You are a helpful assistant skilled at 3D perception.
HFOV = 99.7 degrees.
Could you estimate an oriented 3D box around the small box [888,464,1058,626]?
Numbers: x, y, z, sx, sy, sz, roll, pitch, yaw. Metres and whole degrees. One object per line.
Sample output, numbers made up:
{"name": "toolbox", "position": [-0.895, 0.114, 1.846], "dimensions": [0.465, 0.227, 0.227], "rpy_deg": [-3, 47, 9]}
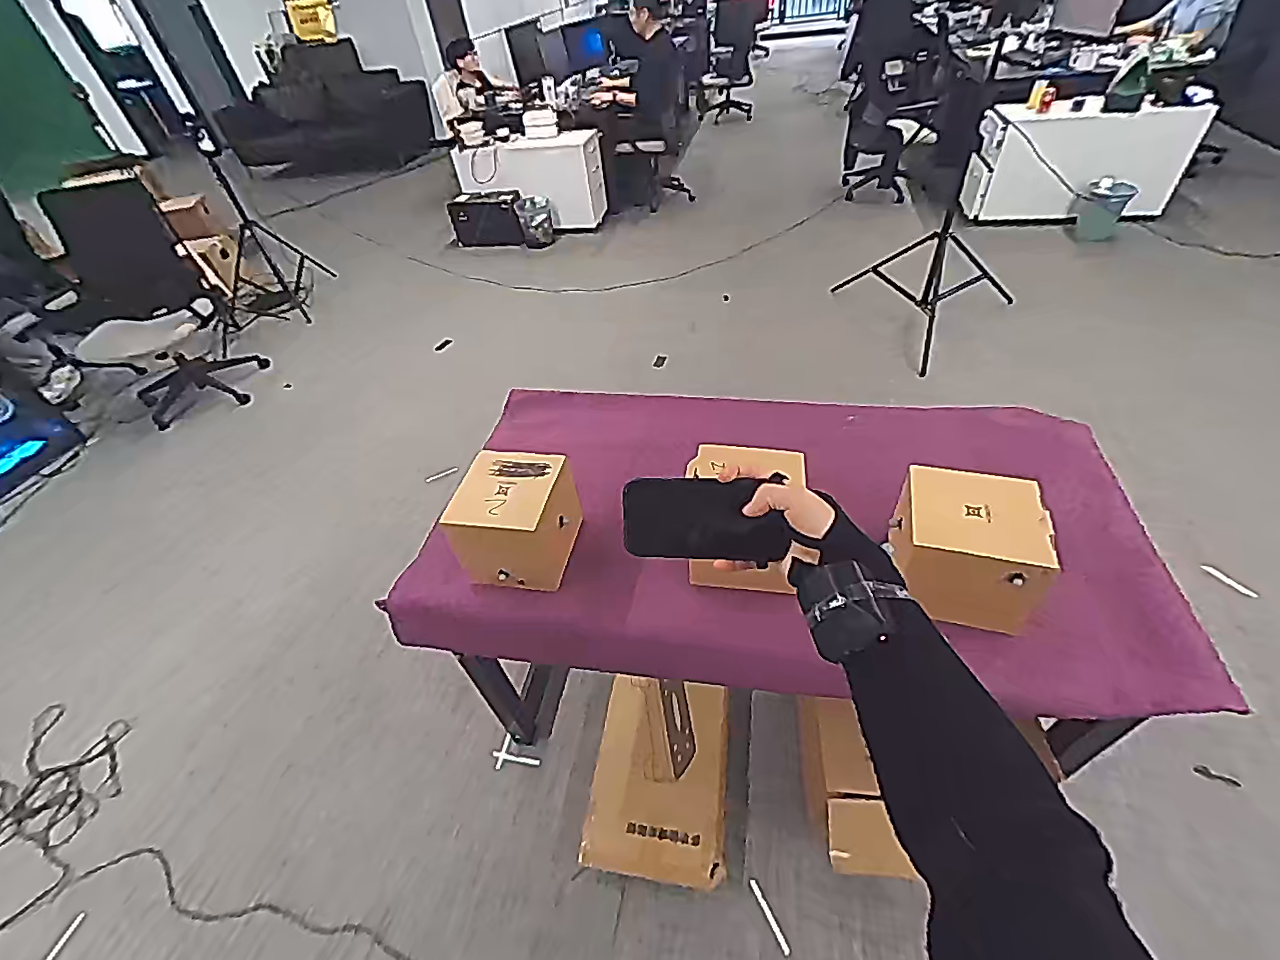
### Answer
{"name": "small box", "position": [0.483, 0.099, 0.820], "dimensions": [0.179, 0.176, 0.168], "rpy_deg": [8, 46, 16]}

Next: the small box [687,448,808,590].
{"name": "small box", "position": [0.176, 0.066, 0.897], "dimensions": [0.179, 0.176, 0.168], "rpy_deg": [3, 43, 11]}
